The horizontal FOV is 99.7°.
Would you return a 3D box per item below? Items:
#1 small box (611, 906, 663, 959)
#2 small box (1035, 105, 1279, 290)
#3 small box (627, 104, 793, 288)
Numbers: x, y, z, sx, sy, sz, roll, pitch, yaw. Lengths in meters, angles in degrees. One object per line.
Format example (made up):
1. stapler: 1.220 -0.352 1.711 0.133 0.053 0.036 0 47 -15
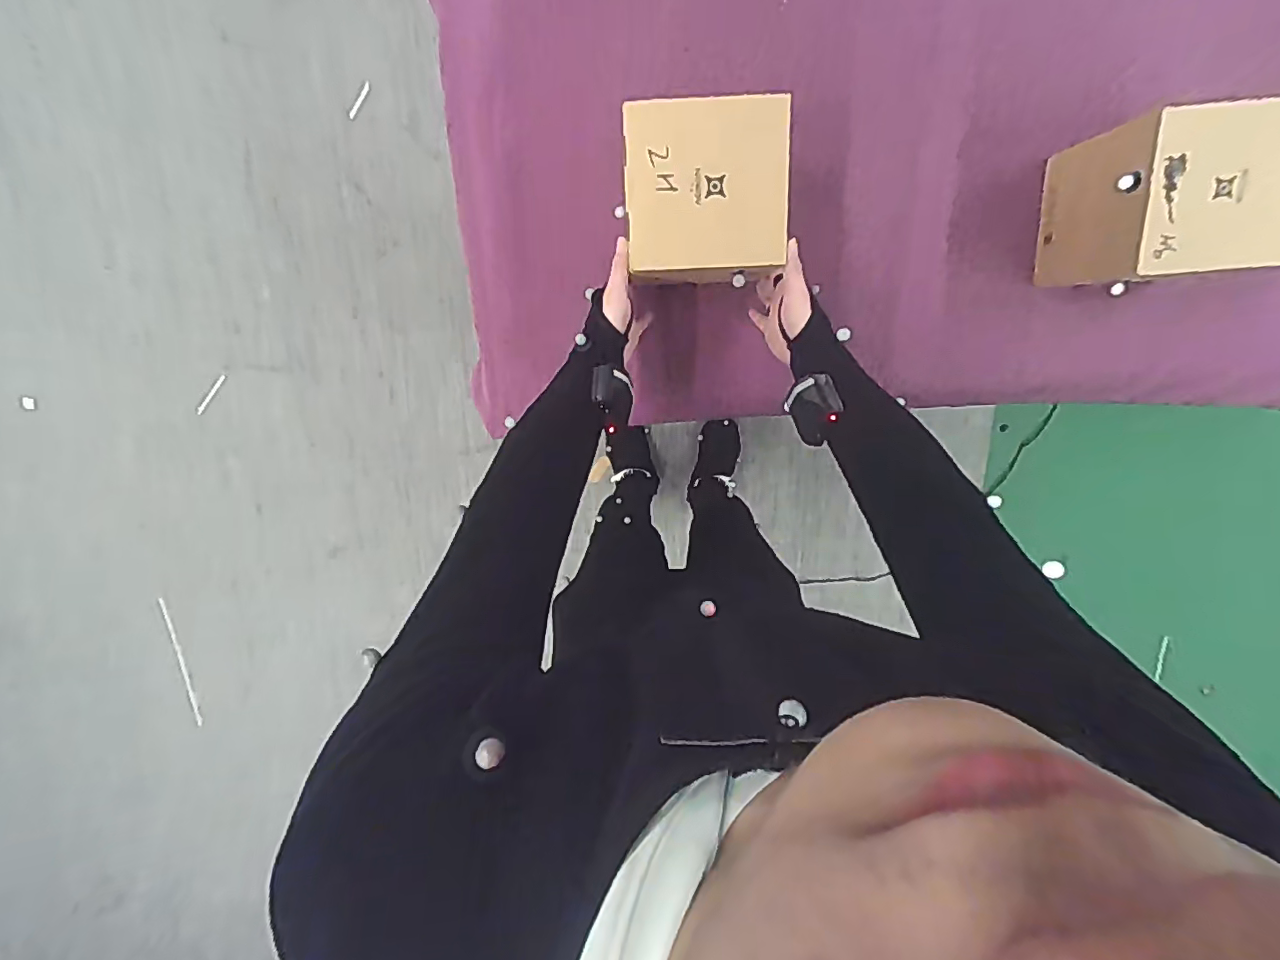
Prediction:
1. small box: -0.013 1.667 1.932 0.179 0.176 0.168 4 105 -1
2. small box: 0.630 -0.325 0.652 0.179 0.176 0.168 -3 104 2
3. small box: 0.077 -0.330 0.659 0.179 0.176 0.168 -2 105 2
